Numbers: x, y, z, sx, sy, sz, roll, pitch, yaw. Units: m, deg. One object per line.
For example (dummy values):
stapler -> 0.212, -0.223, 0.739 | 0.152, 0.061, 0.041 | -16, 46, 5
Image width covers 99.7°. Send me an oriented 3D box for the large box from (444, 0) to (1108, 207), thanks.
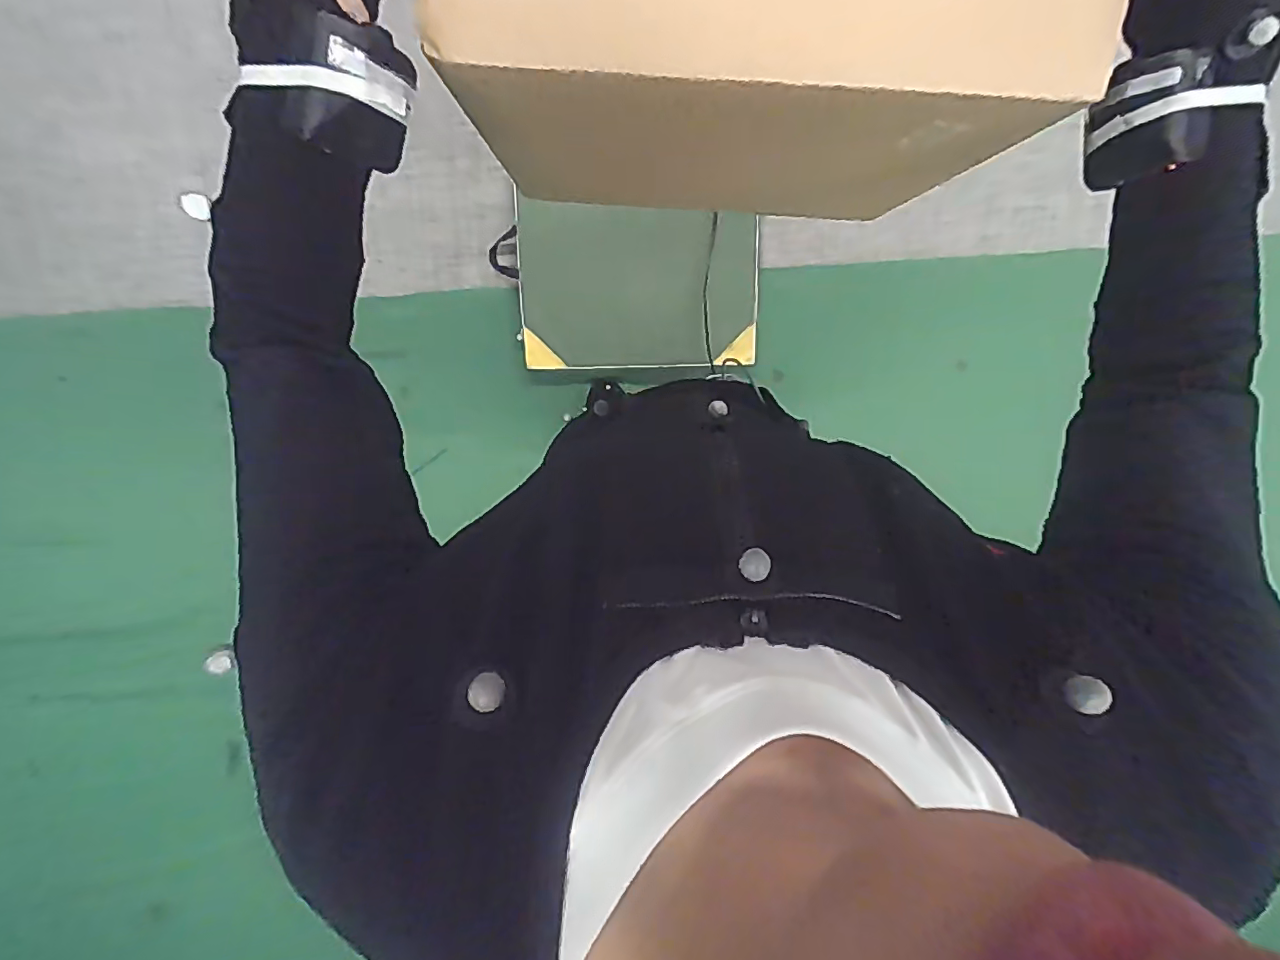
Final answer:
large box -> 0.079, -0.429, 0.436 | 0.408, 0.320, 0.320 | 1, 104, -3
